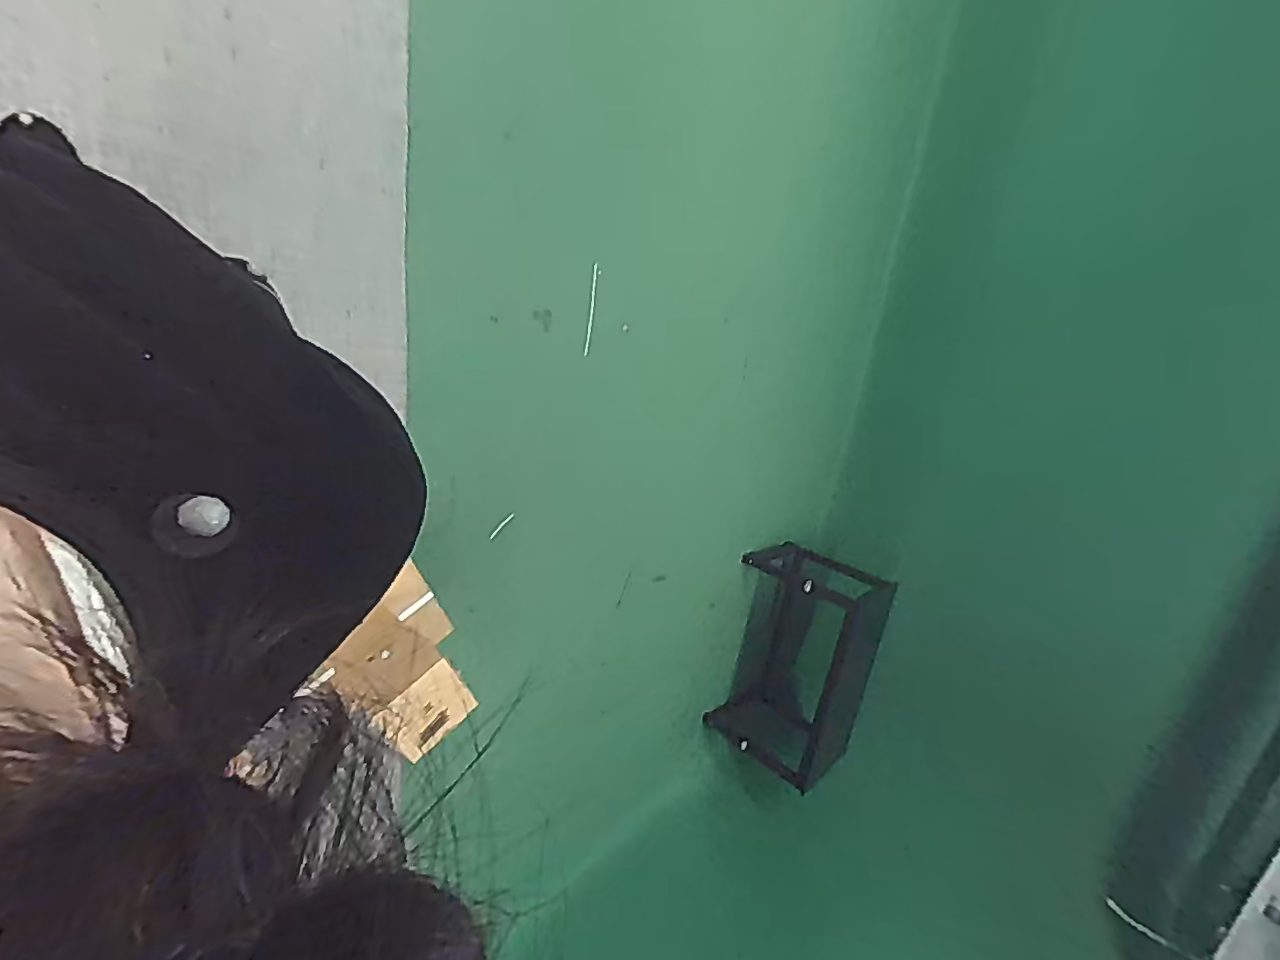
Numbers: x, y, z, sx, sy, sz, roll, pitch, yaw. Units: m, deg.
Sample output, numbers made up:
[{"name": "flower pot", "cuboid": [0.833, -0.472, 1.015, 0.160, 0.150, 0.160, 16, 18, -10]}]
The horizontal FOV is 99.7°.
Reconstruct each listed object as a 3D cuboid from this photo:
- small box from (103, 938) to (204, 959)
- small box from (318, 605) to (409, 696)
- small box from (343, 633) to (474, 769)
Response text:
[{"name": "small box", "cuboid": [-0.793, 0.863, 0.832, 0.168, 0.176, 0.179, -41, 133, -29]}, {"name": "small box", "cuboid": [-0.607, 0.426, 1.266, 0.168, 0.176, 0.179, -44, 133, -28]}, {"name": "small box", "cuboid": [-0.492, 0.462, 1.153, 0.168, 0.176, 0.179, -40, 131, -31]}]
